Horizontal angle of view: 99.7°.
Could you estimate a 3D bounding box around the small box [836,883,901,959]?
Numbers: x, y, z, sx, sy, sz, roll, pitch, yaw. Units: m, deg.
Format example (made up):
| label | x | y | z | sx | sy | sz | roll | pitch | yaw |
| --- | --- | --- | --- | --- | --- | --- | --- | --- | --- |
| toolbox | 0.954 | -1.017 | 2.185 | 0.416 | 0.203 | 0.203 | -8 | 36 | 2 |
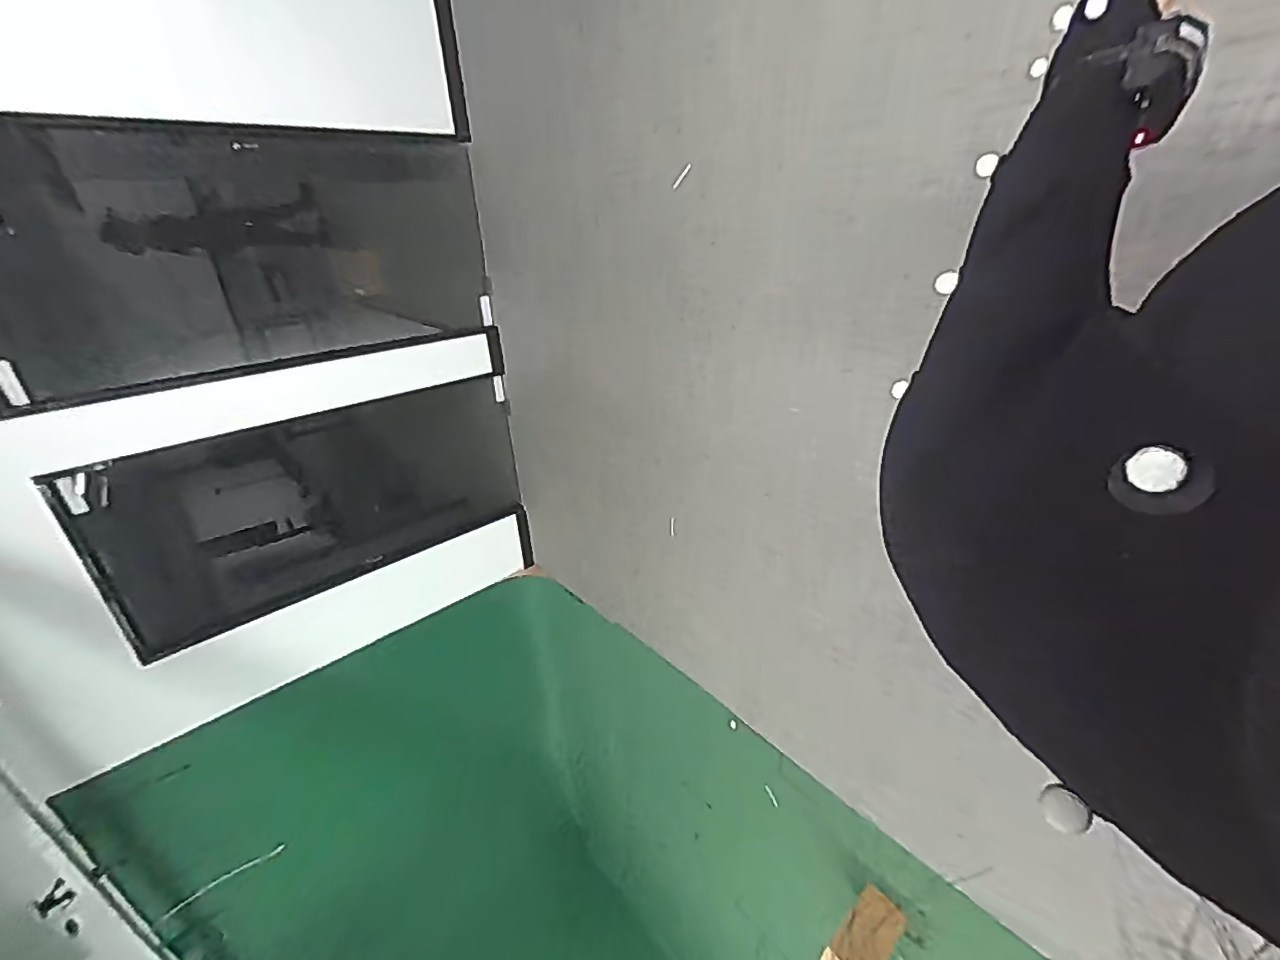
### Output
| label | x | y | z | sx | sy | sz | roll | pitch | yaw |
| --- | --- | --- | --- | --- | --- | --- | --- | --- | --- |
| small box | 0.938 | 1.805 | 2.206 | 0.168 | 0.176 | 0.179 | 33 | 132 | 37 |
